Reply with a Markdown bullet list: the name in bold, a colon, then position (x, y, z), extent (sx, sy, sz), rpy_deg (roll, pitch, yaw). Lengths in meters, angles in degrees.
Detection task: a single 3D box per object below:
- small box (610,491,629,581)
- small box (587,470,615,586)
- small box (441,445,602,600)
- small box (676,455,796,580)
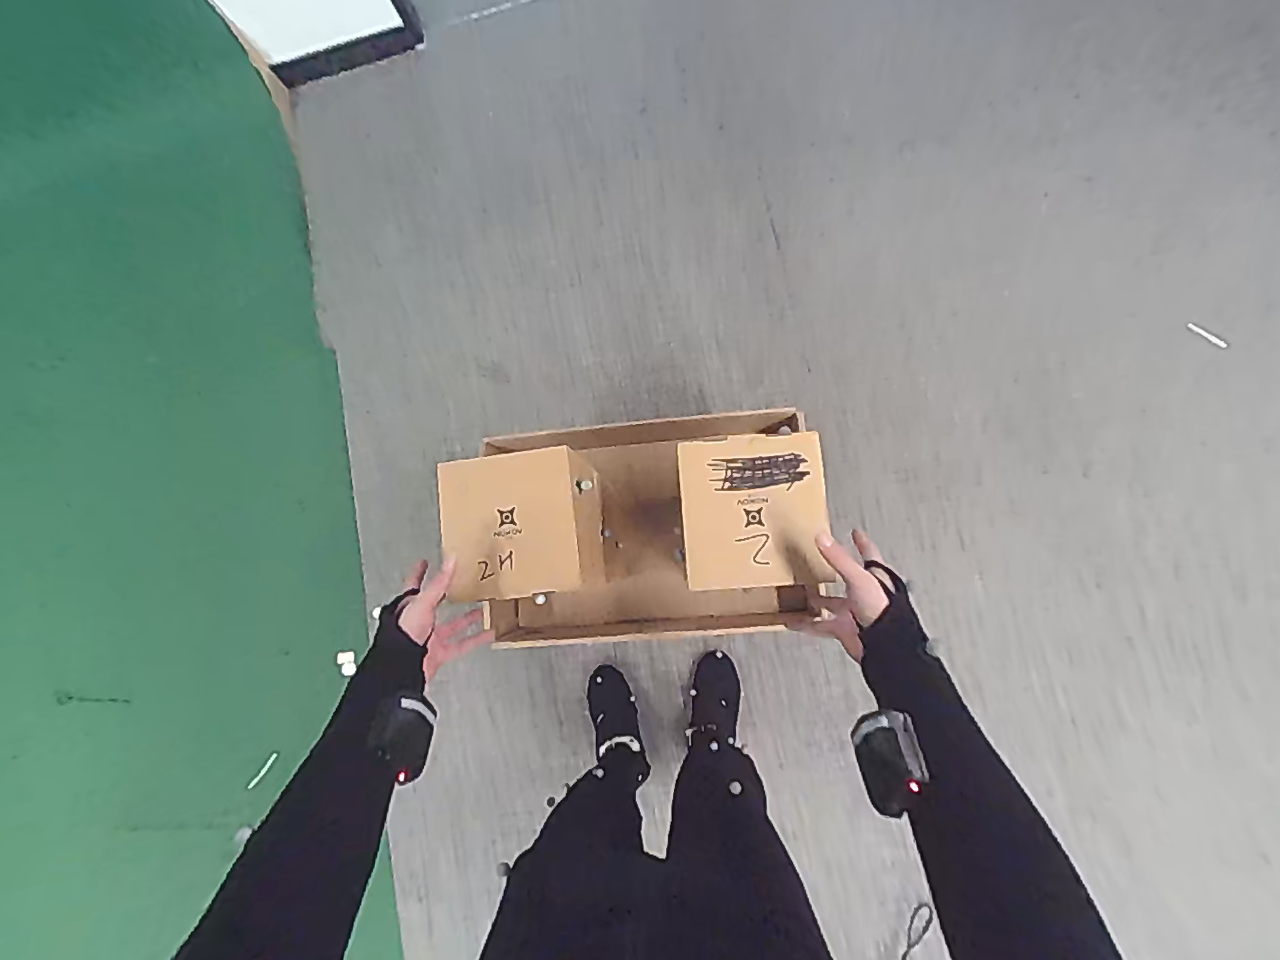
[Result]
- **small box**: position (-0.120, 0.115, 1.054), extent (0.179, 0.176, 0.168), rpy_deg (-2, 81, 6)
- **small box**: position (-0.135, 0.087, 0.893), extent (0.168, 0.176, 0.179), rpy_deg (-4, 81, 6)
- **small box**: position (-0.151, 0.063, 0.731), extent (0.168, 0.176, 0.179), rpy_deg (-7, 81, 6)
- **small box**: position (0.146, 0.066, 0.860), extent (0.168, 0.176, 0.179), rpy_deg (-4, 80, 5)
